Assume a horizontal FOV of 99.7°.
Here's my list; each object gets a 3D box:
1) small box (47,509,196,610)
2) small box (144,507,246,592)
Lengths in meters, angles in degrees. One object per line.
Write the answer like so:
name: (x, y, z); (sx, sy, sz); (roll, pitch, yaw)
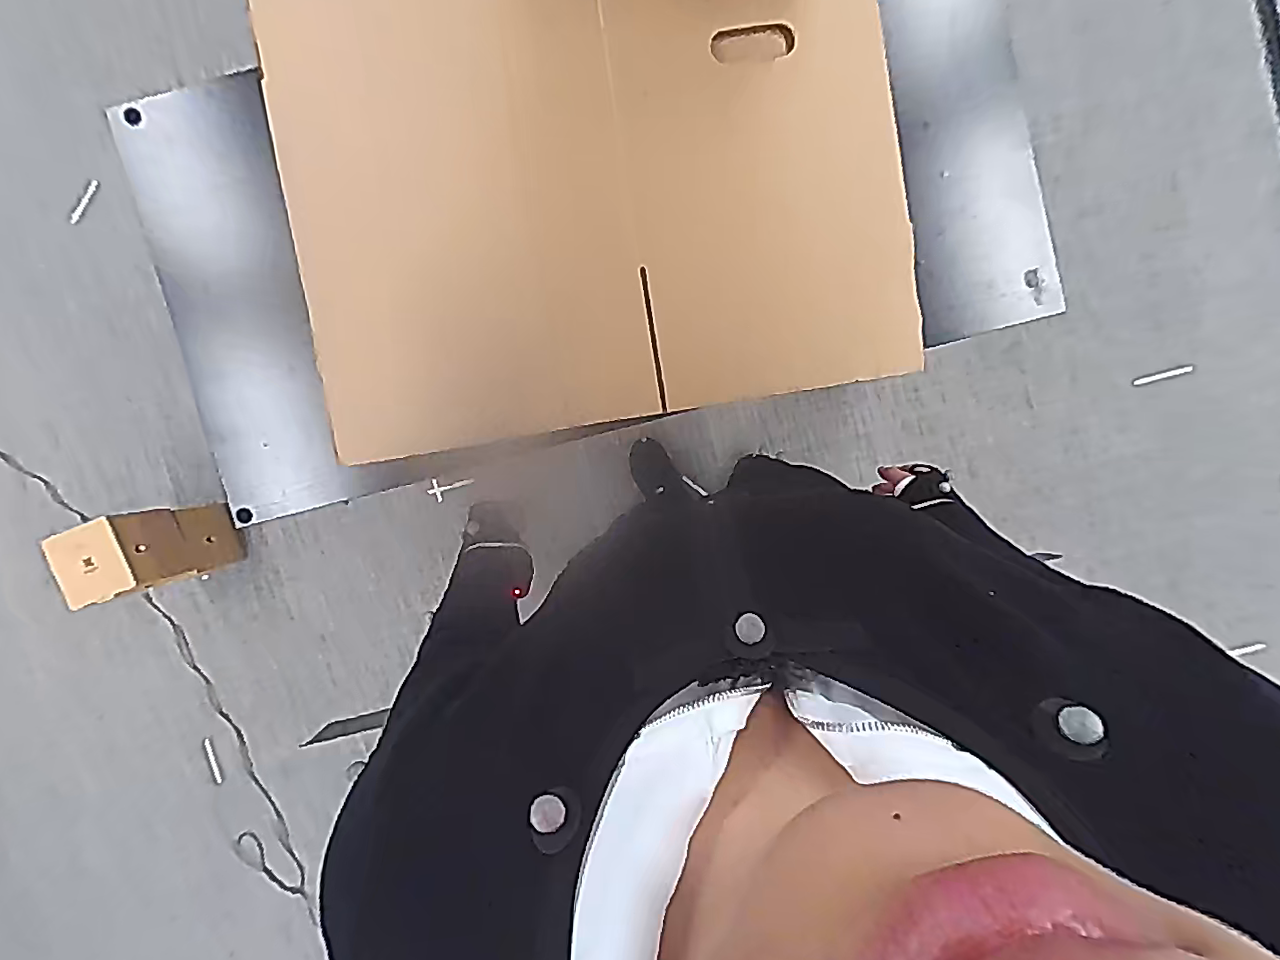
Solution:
small box: (-1.226, 0.183, 1.295); (0.168, 0.176, 0.179); (-21, 93, 2)
small box: (-1.221, 0.178, 1.458); (0.168, 0.176, 0.179); (-19, 94, 2)
